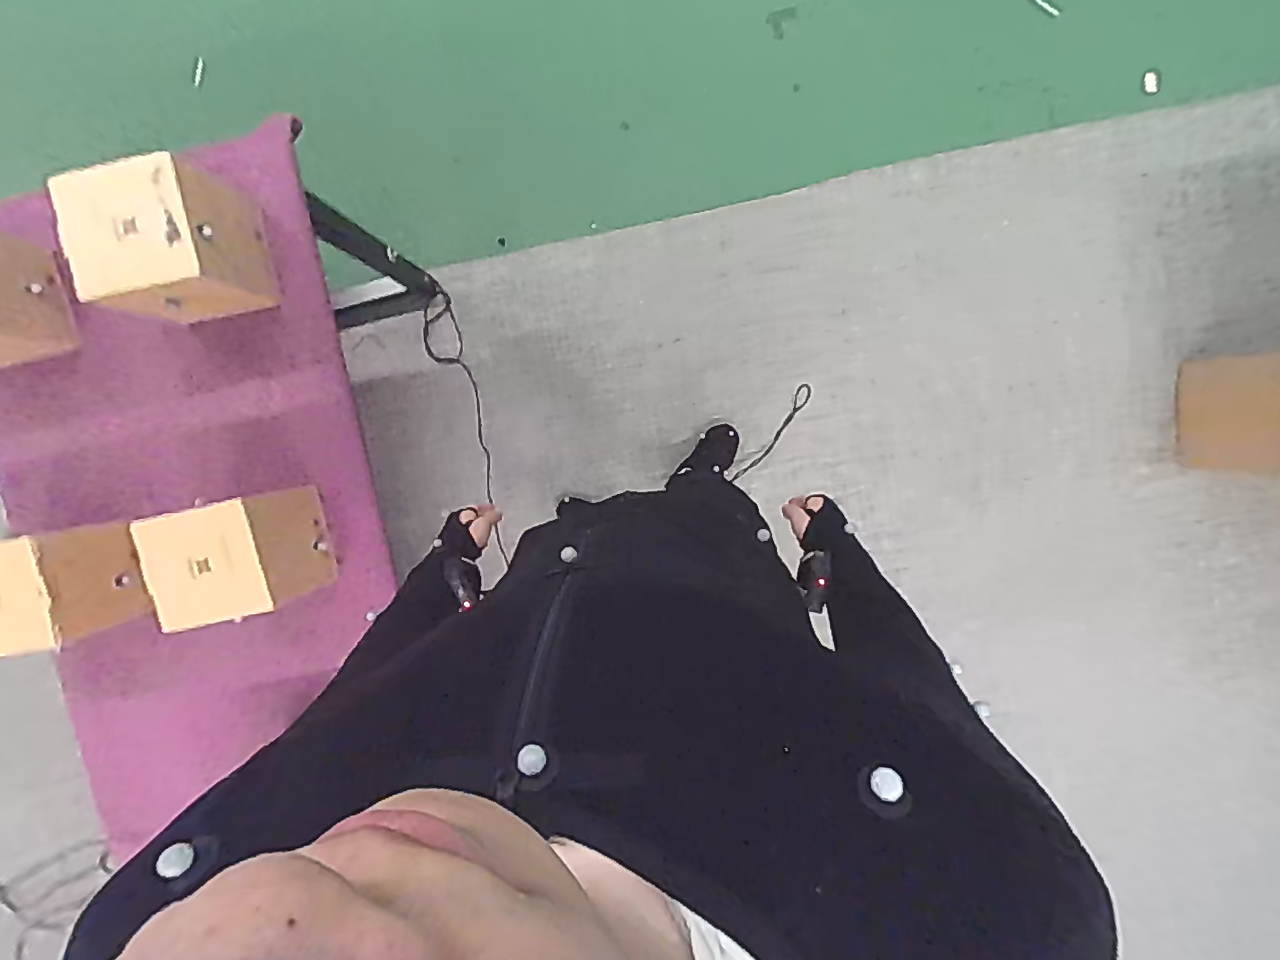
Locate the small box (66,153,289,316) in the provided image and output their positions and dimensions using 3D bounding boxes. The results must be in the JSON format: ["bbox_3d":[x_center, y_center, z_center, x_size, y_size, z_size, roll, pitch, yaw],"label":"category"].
[{"bbox_3d":[-0.691,-0.360,0.828,0.179,0.176,0.168,-11,96,4],"label":"small box"}]

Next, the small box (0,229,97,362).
[{"bbox_3d":[-1.038,-0.289,0.853,0.179,0.176,0.168,-13,98,3],"label":"small box"}]

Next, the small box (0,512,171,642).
[{"bbox_3d":[-0.939,0.154,0.897,0.179,0.176,0.168,-10,95,2],"label":"small box"}]

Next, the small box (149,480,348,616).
[{"bbox_3d":[-0.618,0.101,0.874,0.179,0.176,0.168,-12,96,5],"label":"small box"}]

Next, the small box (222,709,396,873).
[{"bbox_3d":[-0.536,0.508,0.907,0.179,0.176,0.168,-12,95,6],"label":"small box"}]
